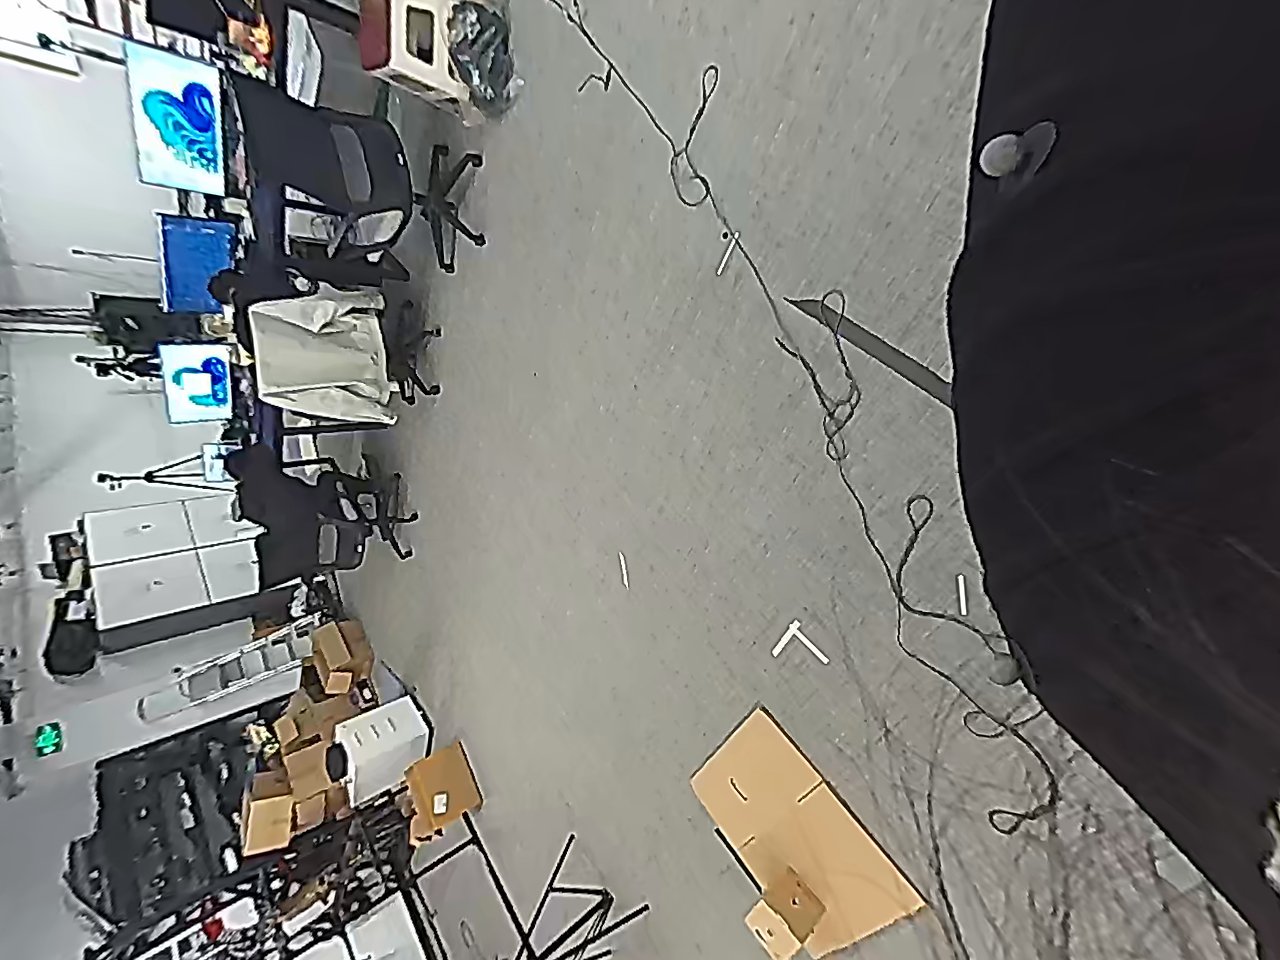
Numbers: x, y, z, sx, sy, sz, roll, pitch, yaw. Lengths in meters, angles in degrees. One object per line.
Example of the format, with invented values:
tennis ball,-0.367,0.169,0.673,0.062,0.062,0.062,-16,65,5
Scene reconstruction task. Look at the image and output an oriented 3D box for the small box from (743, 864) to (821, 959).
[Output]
small box,0.494,1.481,1.862,0.168,0.176,0.179,40,124,33
